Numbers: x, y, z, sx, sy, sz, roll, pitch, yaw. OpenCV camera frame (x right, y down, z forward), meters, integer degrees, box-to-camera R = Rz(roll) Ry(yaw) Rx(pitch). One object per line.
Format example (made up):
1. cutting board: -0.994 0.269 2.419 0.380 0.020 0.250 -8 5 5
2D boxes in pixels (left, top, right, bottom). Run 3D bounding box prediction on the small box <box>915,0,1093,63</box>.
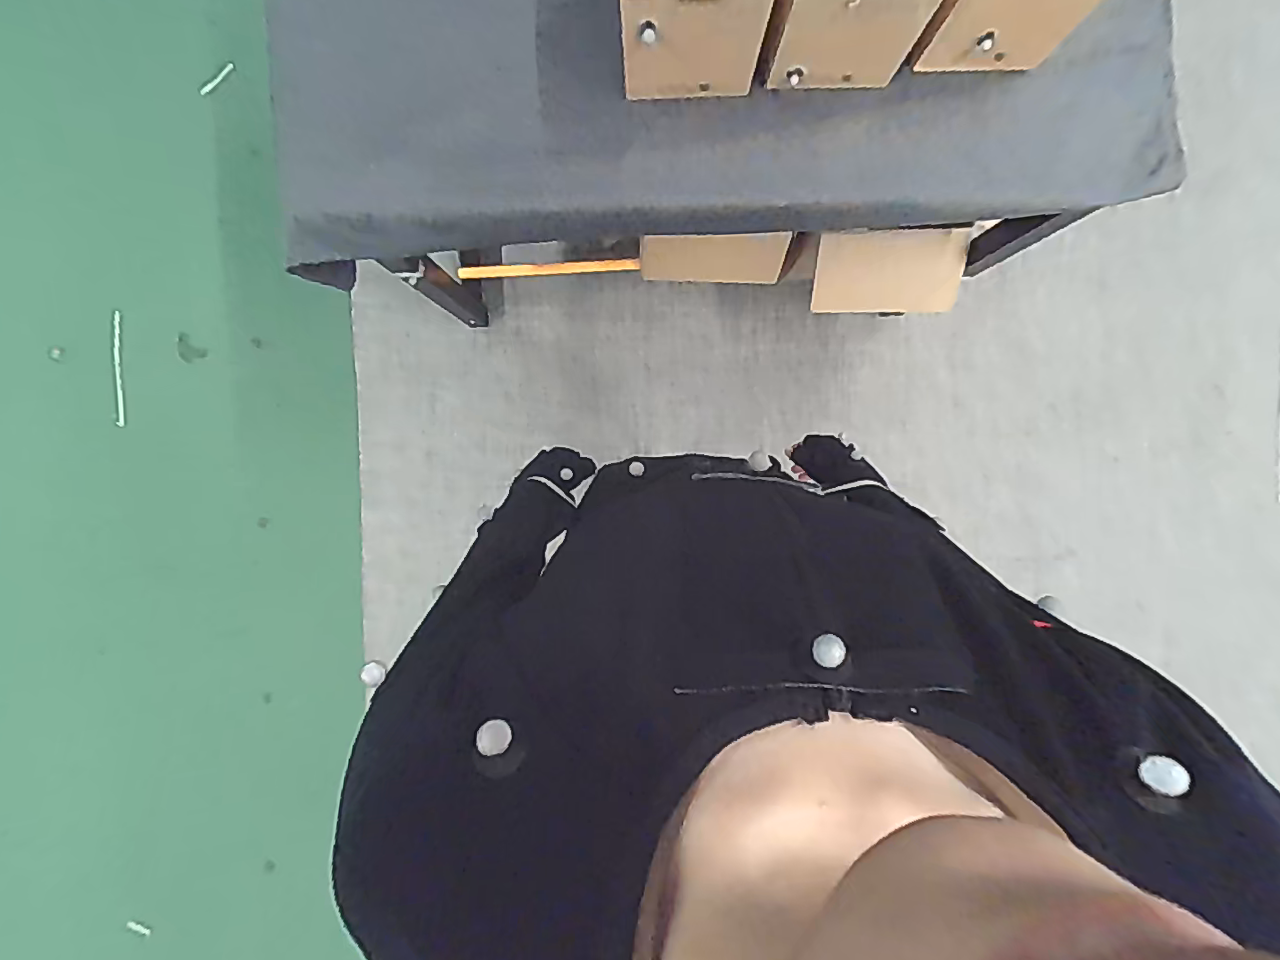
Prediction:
1. small box: 0.443 -0.637 0.632 0.168 0.176 0.179 -1 94 1
